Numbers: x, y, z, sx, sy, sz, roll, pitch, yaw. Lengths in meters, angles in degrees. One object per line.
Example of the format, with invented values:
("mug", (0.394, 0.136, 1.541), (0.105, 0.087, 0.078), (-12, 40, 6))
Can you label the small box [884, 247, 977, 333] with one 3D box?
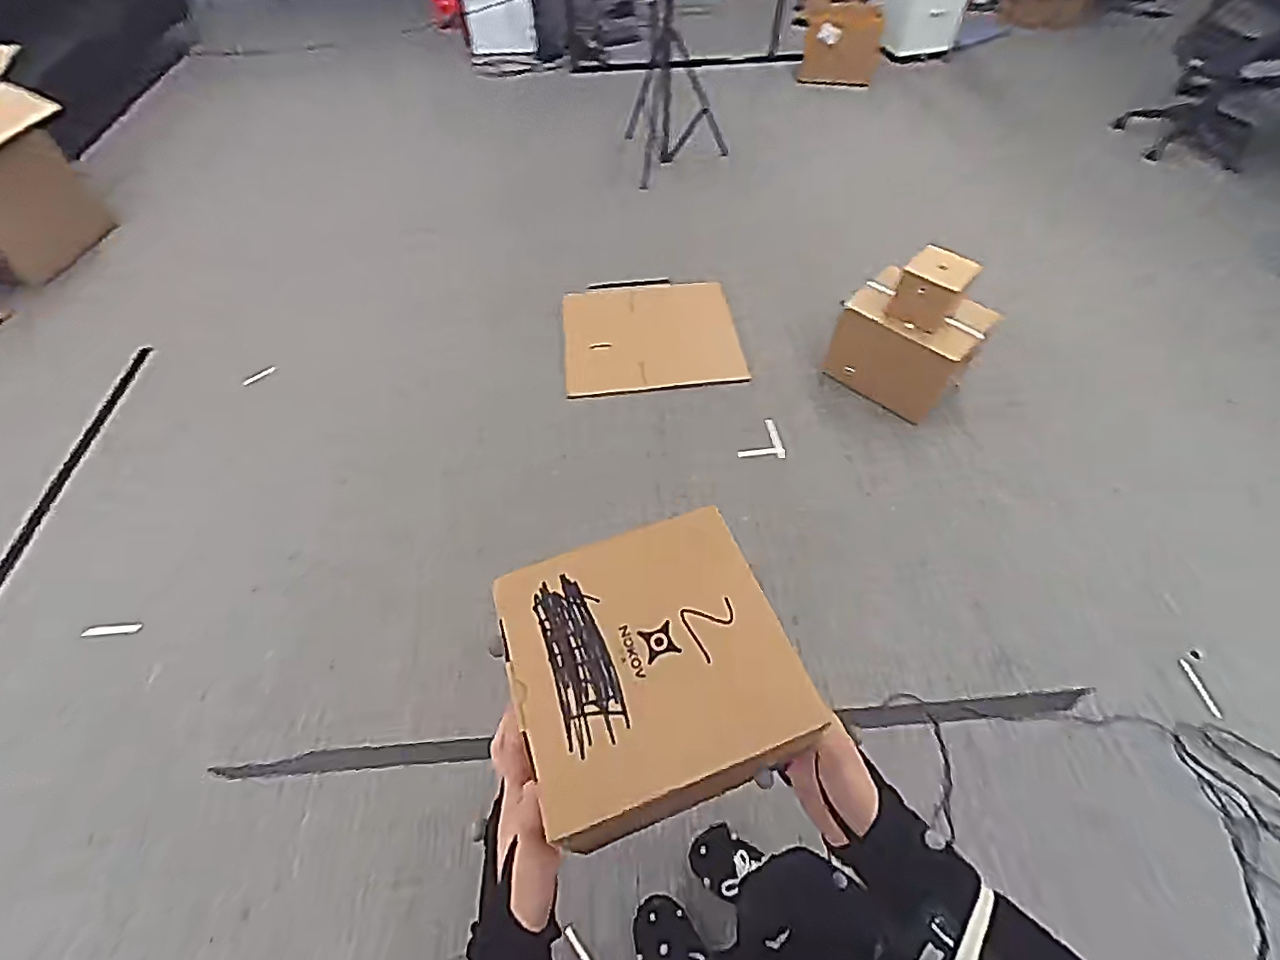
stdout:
("small box", (0.912, -0.599, 1.715), (0.179, 0.176, 0.168), (37, 65, 23))
